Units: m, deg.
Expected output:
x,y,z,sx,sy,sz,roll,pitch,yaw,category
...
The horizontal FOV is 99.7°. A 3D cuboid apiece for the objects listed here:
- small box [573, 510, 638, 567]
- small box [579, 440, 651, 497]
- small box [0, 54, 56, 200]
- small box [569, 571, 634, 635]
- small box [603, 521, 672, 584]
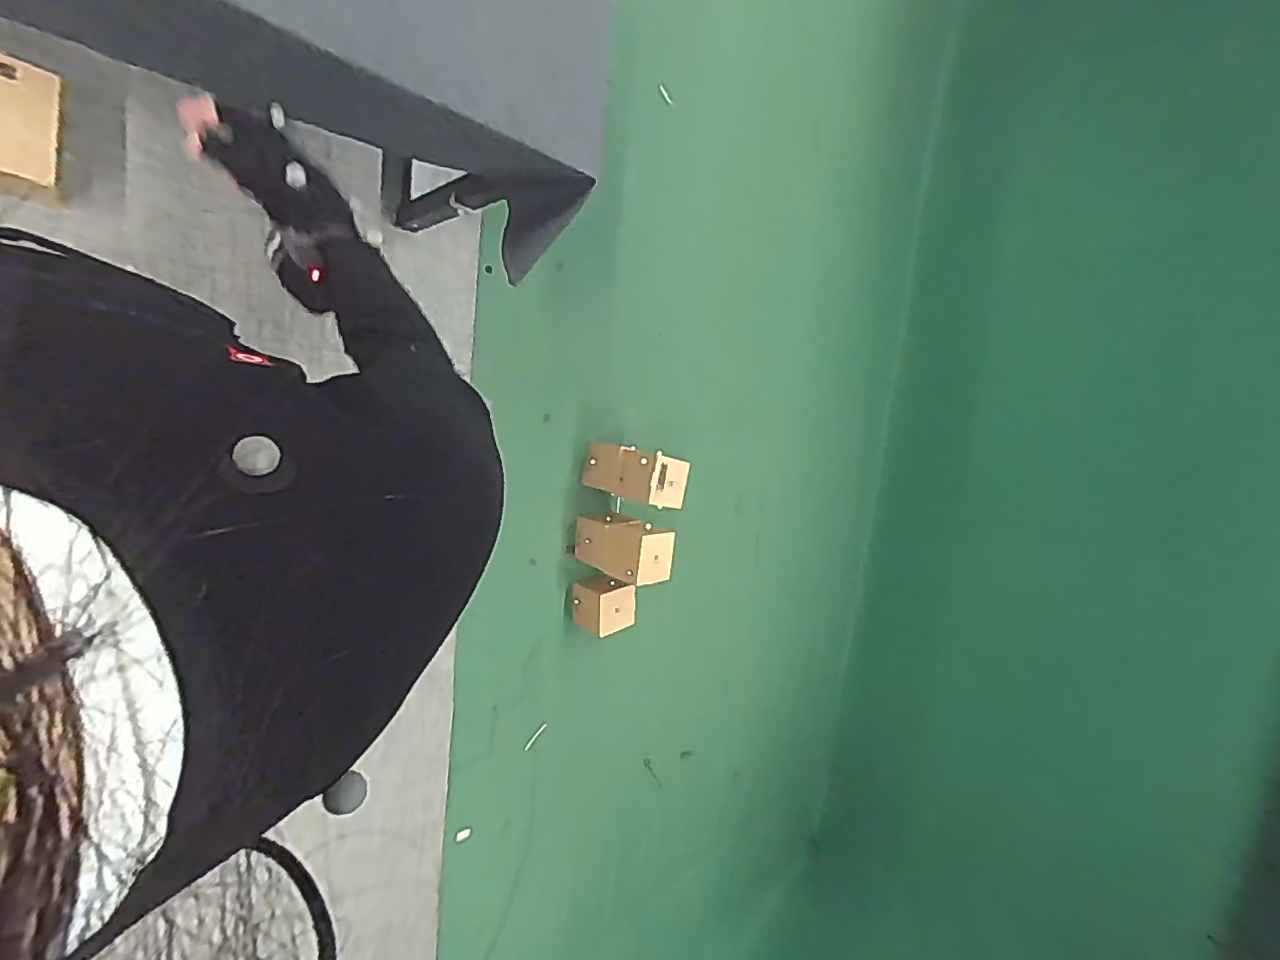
x,y,z,sx,sy,sz,roll,pitch,yaw,category
-0.131,0.211,1.992,0.179,0.176,0.168,-5,103,-46,small box
-0.093,-0.044,1.970,0.179,0.176,0.168,13,89,-45,small box
-1.049,-0.569,0.851,0.168,0.176,0.179,4,97,-46,small box
-0.146,0.455,2.034,0.179,0.176,0.168,-9,106,-45,small box
-0.012,0.244,1.885,0.168,0.176,0.179,-1,101,-46,small box
